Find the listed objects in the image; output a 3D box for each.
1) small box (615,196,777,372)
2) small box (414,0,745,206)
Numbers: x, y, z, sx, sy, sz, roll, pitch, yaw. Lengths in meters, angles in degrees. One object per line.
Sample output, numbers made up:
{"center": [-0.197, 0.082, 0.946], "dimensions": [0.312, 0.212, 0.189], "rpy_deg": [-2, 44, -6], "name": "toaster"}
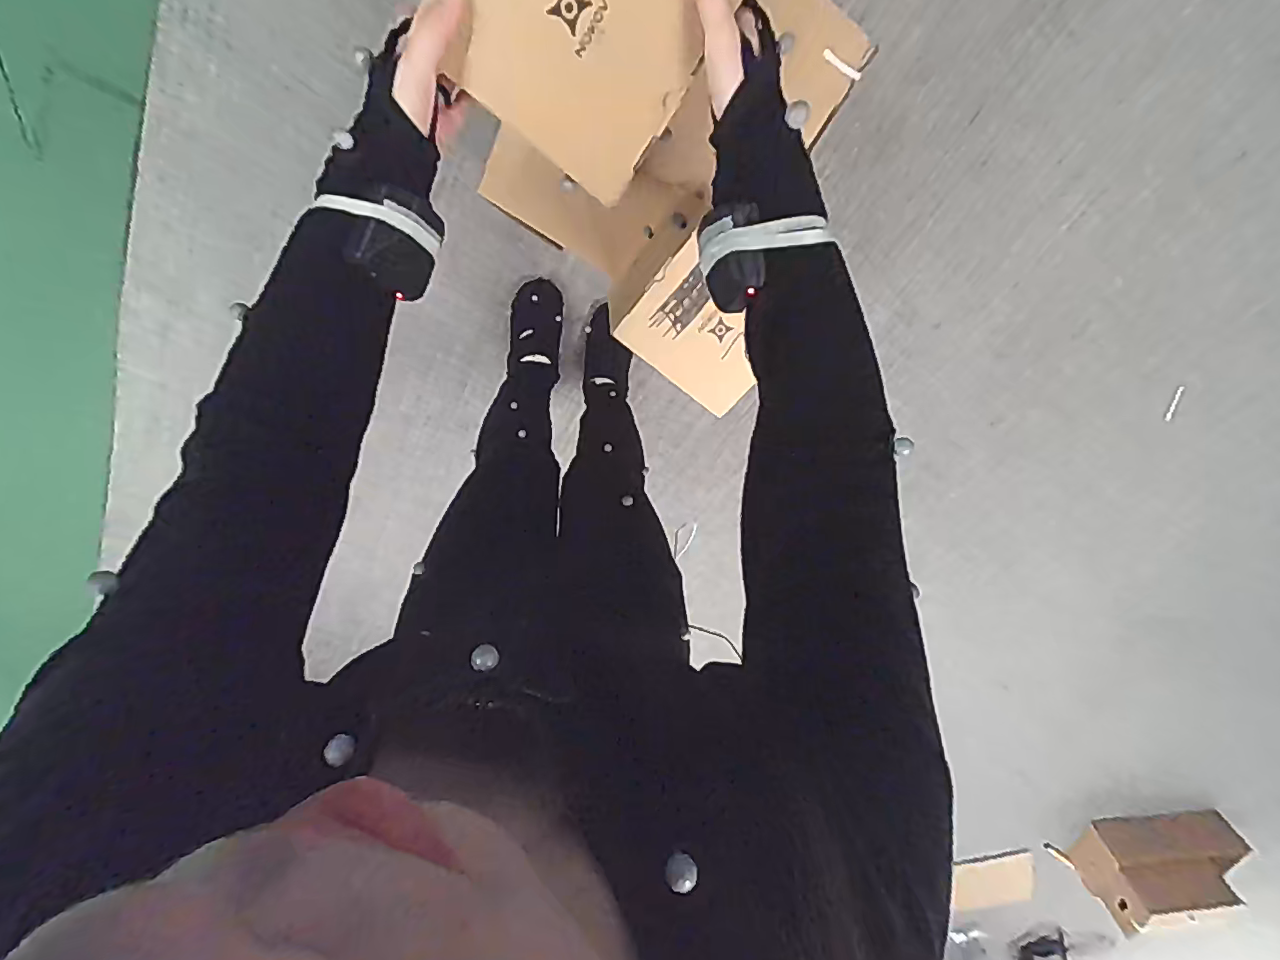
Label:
{"center": [0.070, -0.301, 0.815], "dimensions": [0.168, 0.176, 0.179], "rpy_deg": [30, 115, -20], "name": "small box"}
{"center": [-0.046, -0.356, 0.443], "dimensions": [0.179, 0.176, 0.168], "rpy_deg": [31, 116, -19], "name": "small box"}
